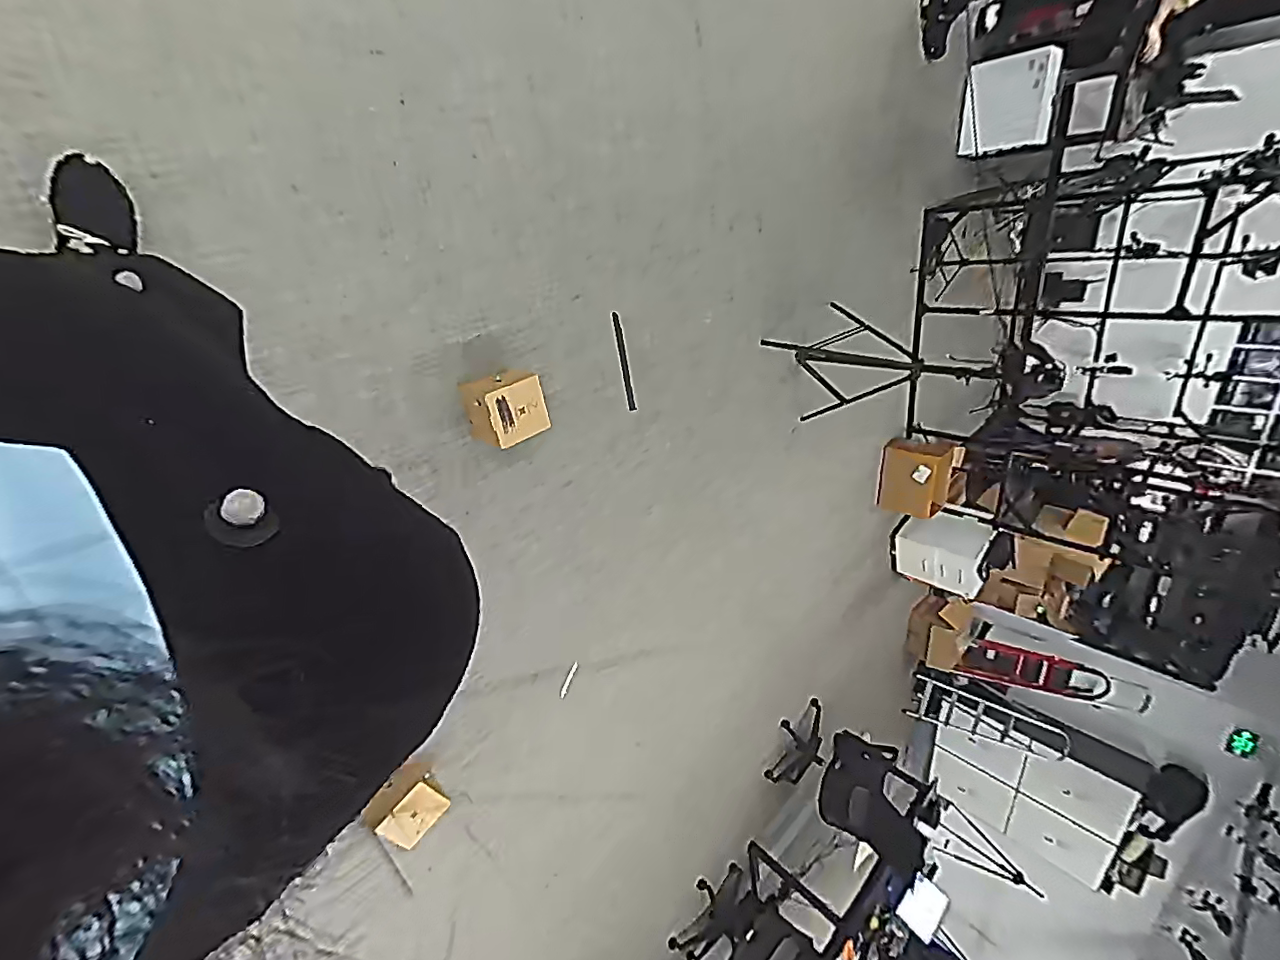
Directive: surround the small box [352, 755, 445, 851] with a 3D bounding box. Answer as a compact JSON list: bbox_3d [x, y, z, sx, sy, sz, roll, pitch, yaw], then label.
[{"bbox_3d":[-0.747,0.986,1.666,0.168,0.176,0.179,-44,131,-25],"label":"small box"}]
